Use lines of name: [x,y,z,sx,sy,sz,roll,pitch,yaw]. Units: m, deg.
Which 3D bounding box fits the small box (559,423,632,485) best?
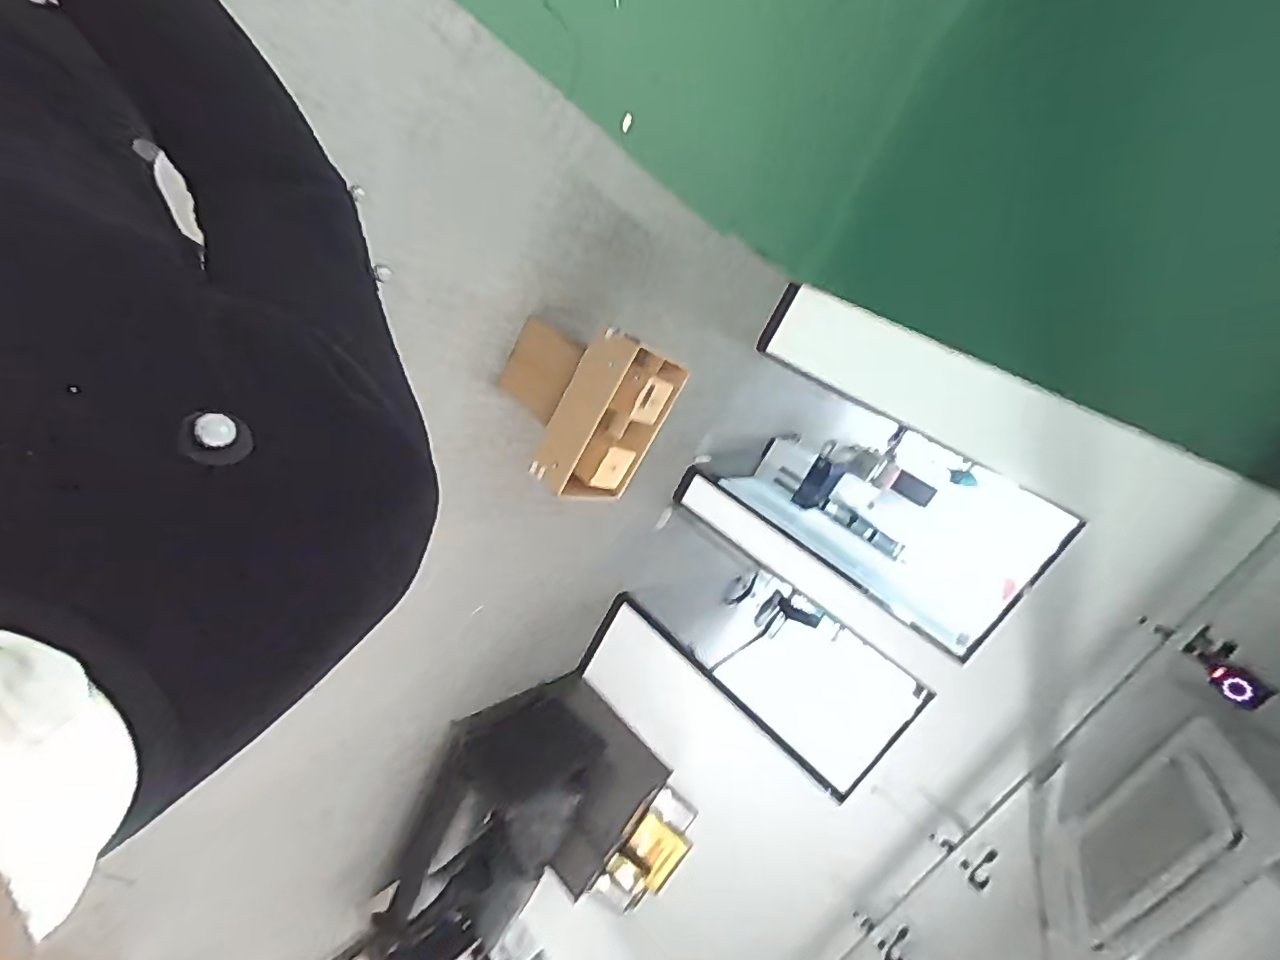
small box: [-0.170,-0.098,2.051,0.168,0.176,0.179,-58,151,13]
